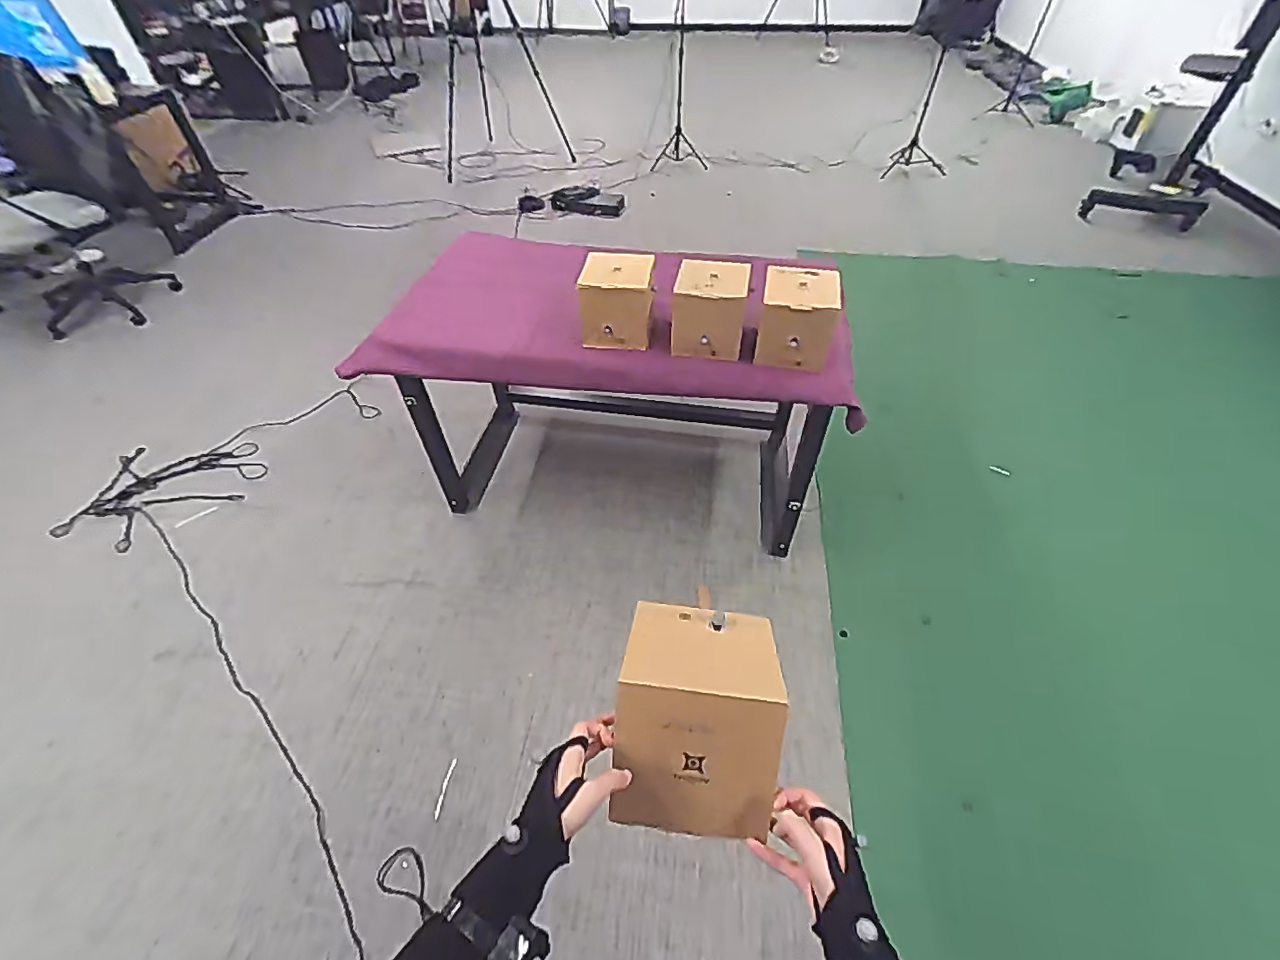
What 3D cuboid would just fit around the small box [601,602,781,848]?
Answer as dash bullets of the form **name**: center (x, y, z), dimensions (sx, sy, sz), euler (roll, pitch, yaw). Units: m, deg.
- **small box**: center (0.056, 0.263, 0.612), dimensions (0.168, 0.179, 0.176), euler (6, 15, 5)
